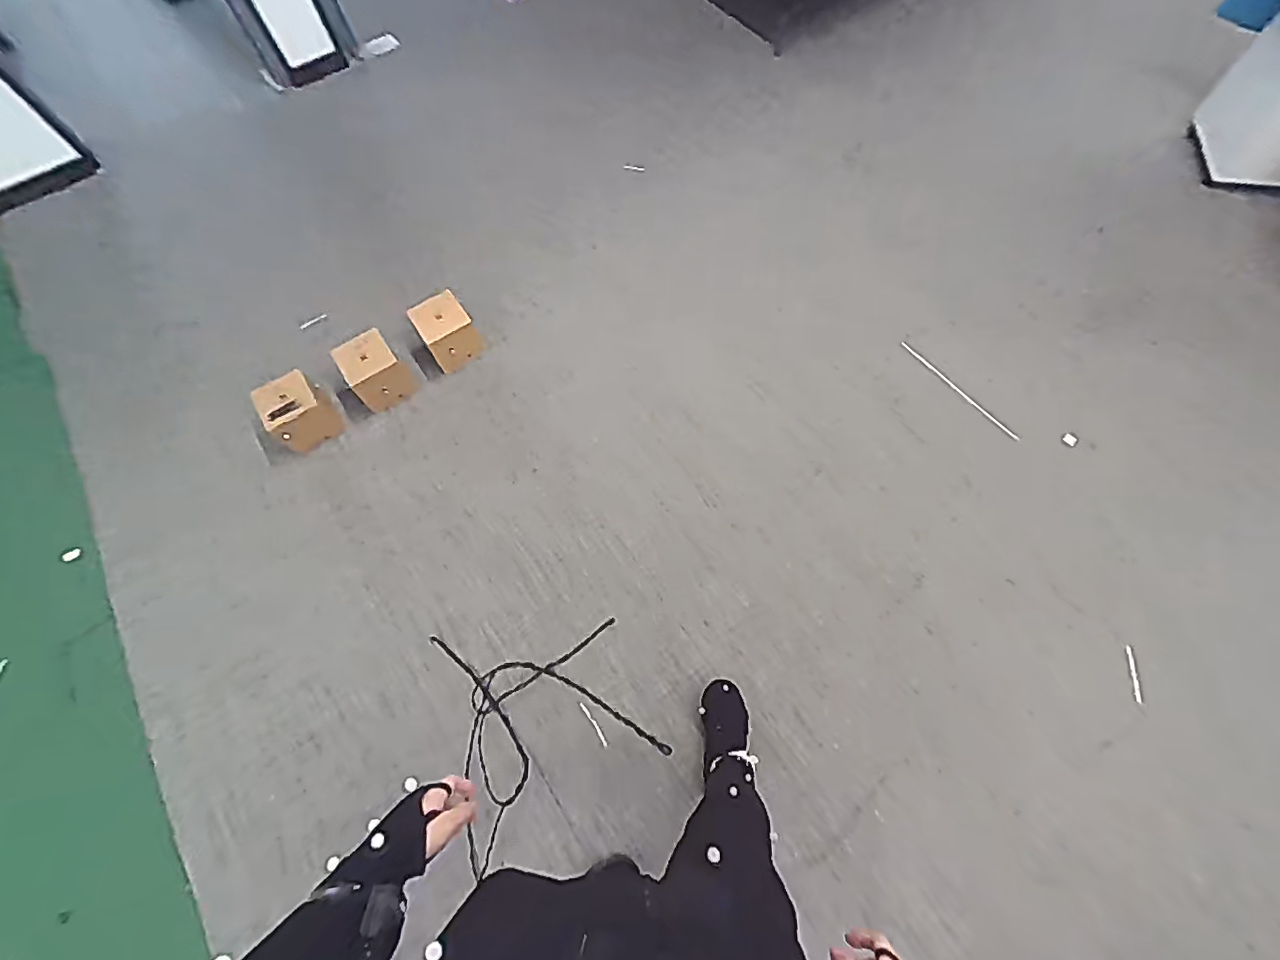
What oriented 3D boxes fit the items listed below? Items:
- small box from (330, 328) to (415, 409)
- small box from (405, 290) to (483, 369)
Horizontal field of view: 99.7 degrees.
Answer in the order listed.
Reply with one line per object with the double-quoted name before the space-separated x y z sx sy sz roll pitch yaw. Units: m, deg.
"small box" -0.882 -0.360 1.799 0.168 0.176 0.179 -33 68 -12
"small box" -0.665 -0.506 1.857 0.168 0.176 0.179 -33 68 -11
